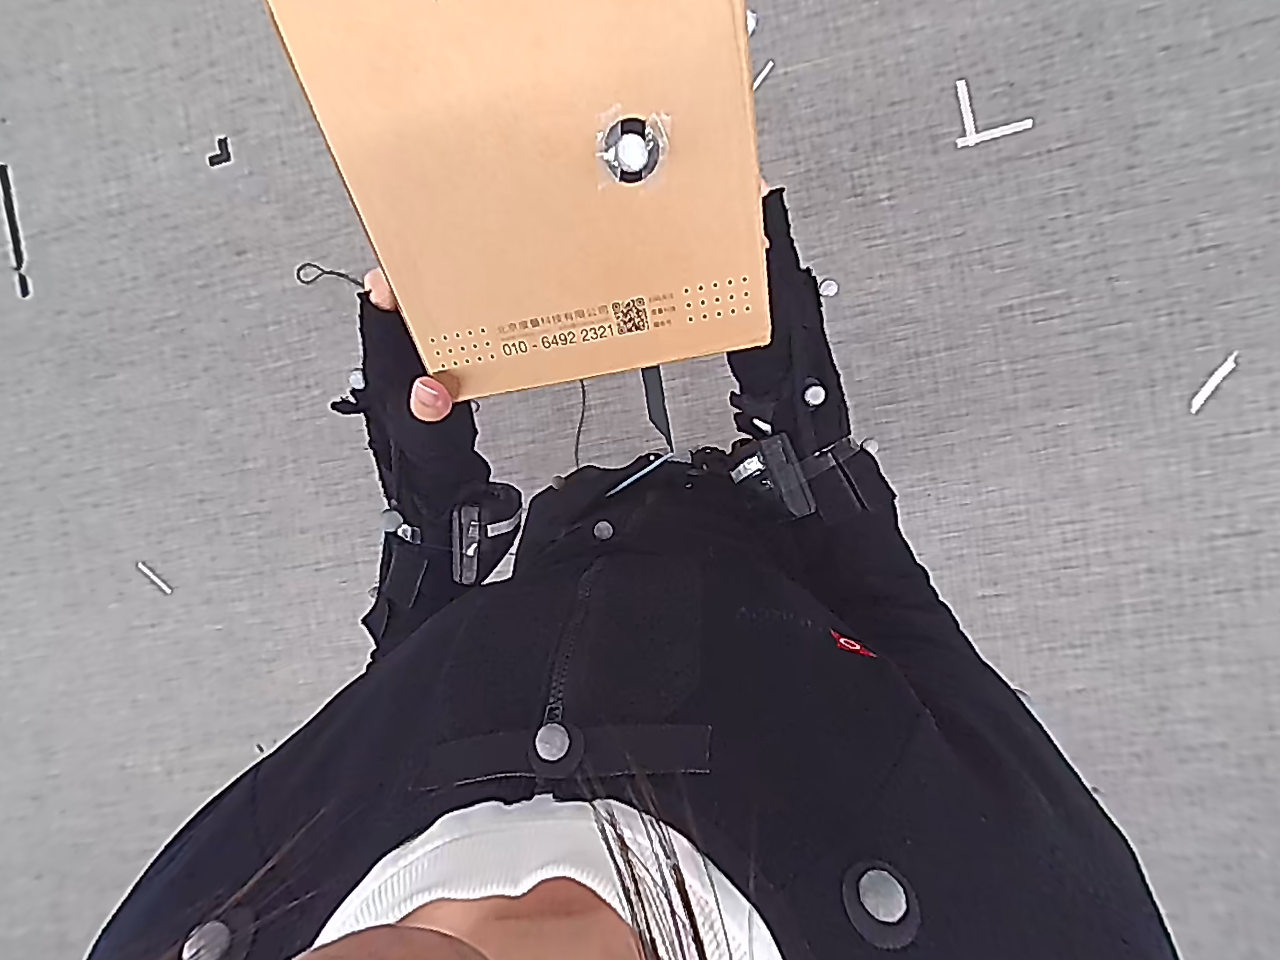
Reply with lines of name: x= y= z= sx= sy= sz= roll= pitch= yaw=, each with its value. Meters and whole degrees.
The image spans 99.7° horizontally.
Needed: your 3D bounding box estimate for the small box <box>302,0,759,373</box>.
small box: x=-0.030 y=-0.169 z=0.305 sx=0.168 sy=0.179 sz=0.176 roll=-8 pitch=123 yaw=9
